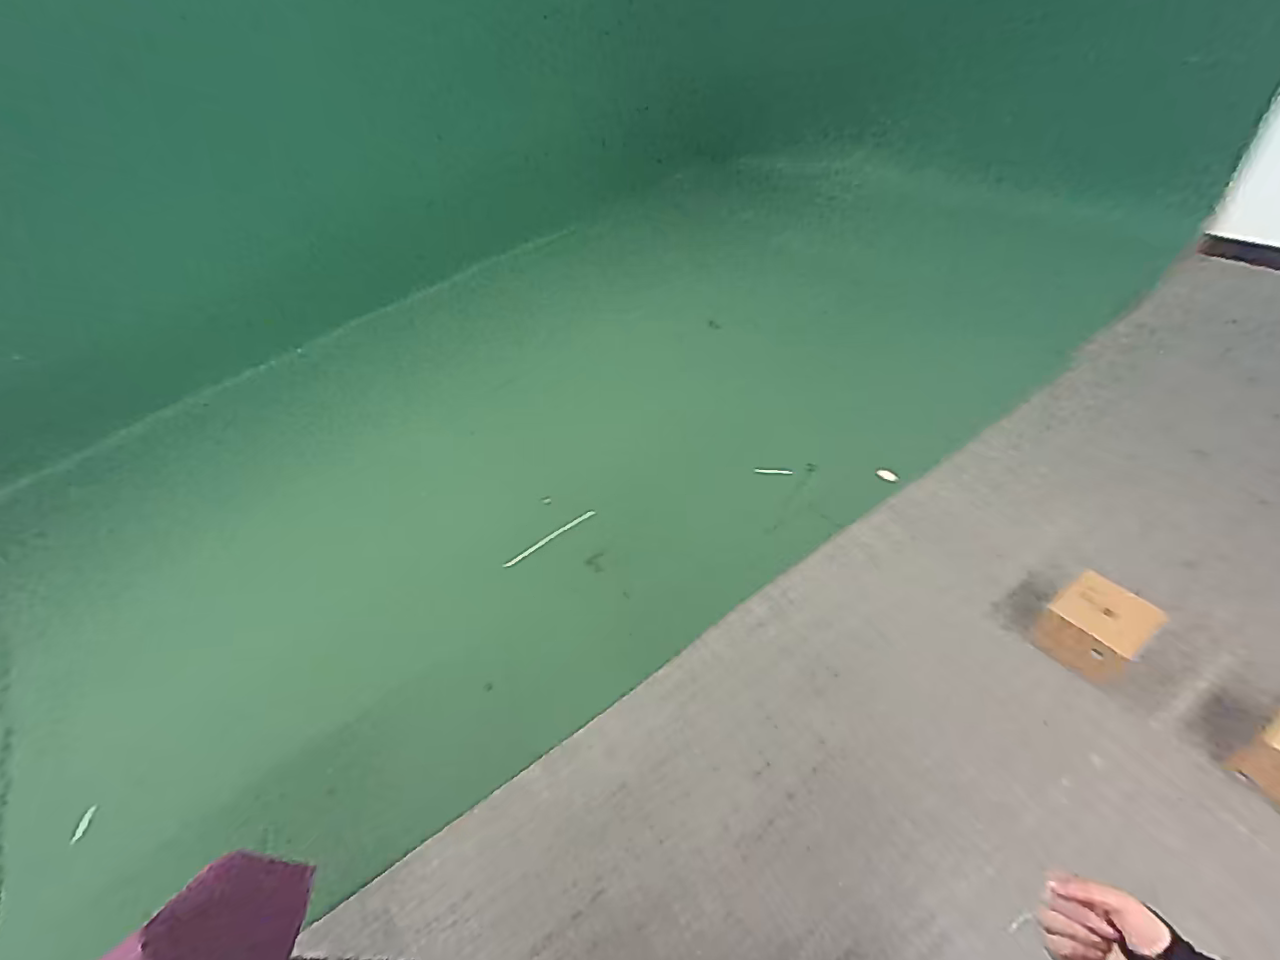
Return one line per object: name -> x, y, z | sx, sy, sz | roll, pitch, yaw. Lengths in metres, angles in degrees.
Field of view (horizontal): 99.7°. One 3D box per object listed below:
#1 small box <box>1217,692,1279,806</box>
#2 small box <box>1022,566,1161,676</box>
small box -> 1.318, 0.545, 1.071 | 0.179, 0.176, 0.168 | -33, 48, -15
small box -> 1.086, 0.351, 1.316 | 0.168, 0.176, 0.179 | -34, 49, -16
